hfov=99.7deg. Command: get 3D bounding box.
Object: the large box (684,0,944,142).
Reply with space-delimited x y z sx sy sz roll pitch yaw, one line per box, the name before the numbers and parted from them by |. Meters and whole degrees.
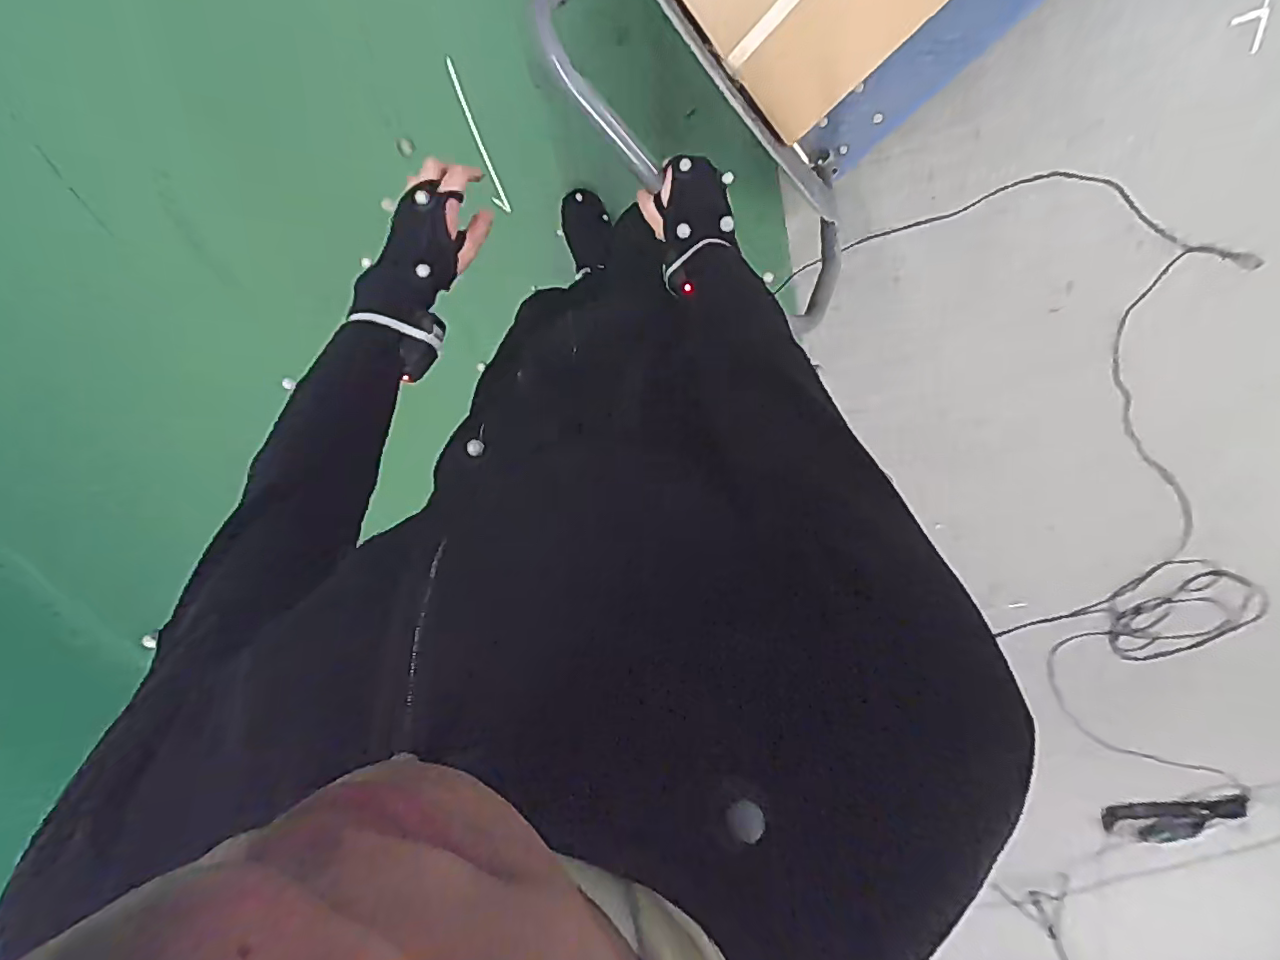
large box | 0.302 -0.832 0.837 0.320 0.320 0.408 41 127 -23
